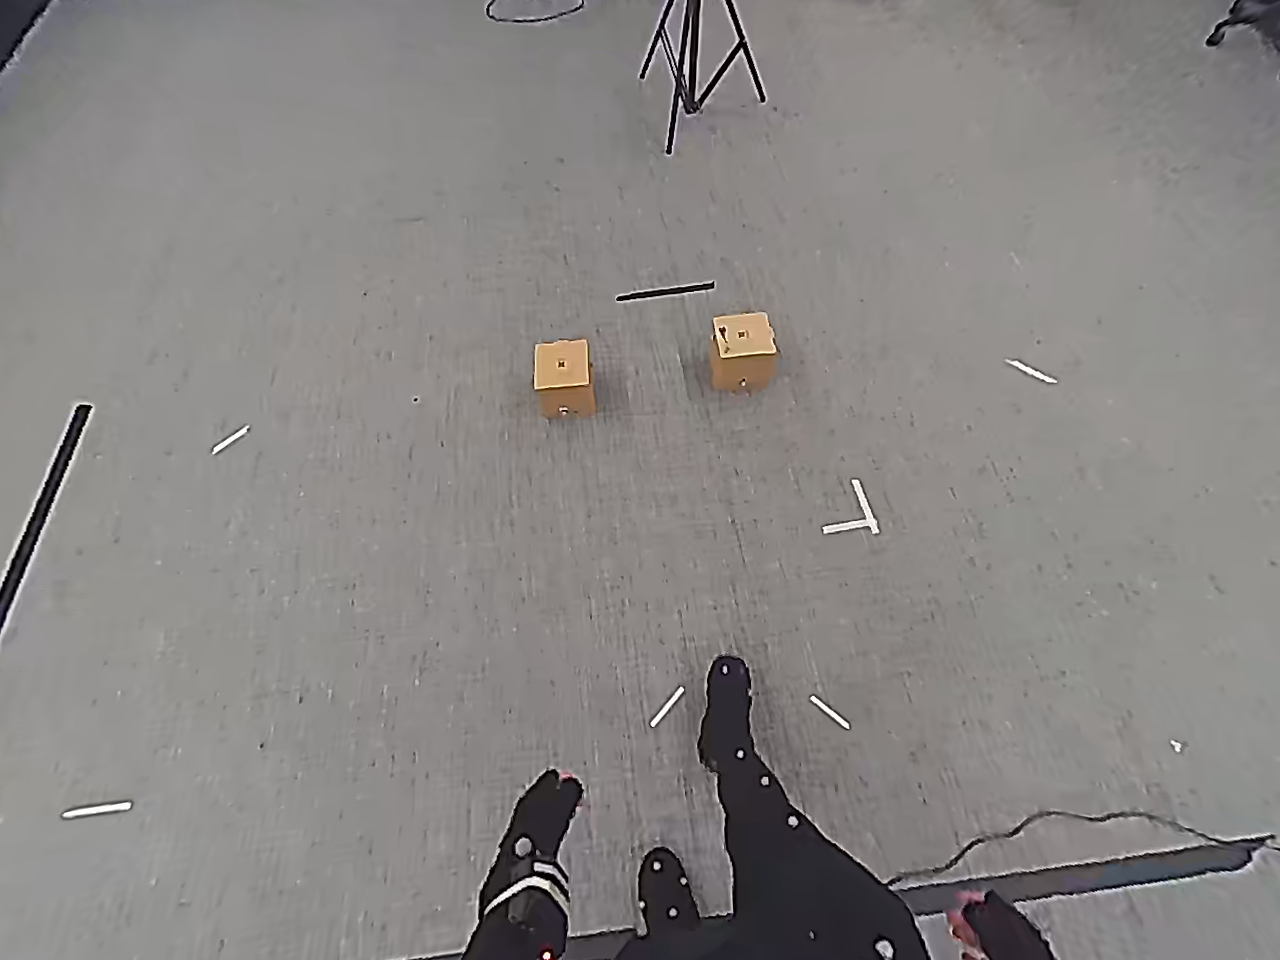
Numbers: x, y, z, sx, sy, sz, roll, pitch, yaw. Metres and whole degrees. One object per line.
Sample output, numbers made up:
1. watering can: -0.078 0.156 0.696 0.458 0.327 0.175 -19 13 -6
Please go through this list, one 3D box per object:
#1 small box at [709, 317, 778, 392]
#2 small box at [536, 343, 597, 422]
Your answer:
1. small box: 0.326 -0.399 1.737 0.179 0.176 0.168 -5 63 -2
2. small box: -0.229 -0.306 1.709 0.168 0.176 0.179 -6 64 1
